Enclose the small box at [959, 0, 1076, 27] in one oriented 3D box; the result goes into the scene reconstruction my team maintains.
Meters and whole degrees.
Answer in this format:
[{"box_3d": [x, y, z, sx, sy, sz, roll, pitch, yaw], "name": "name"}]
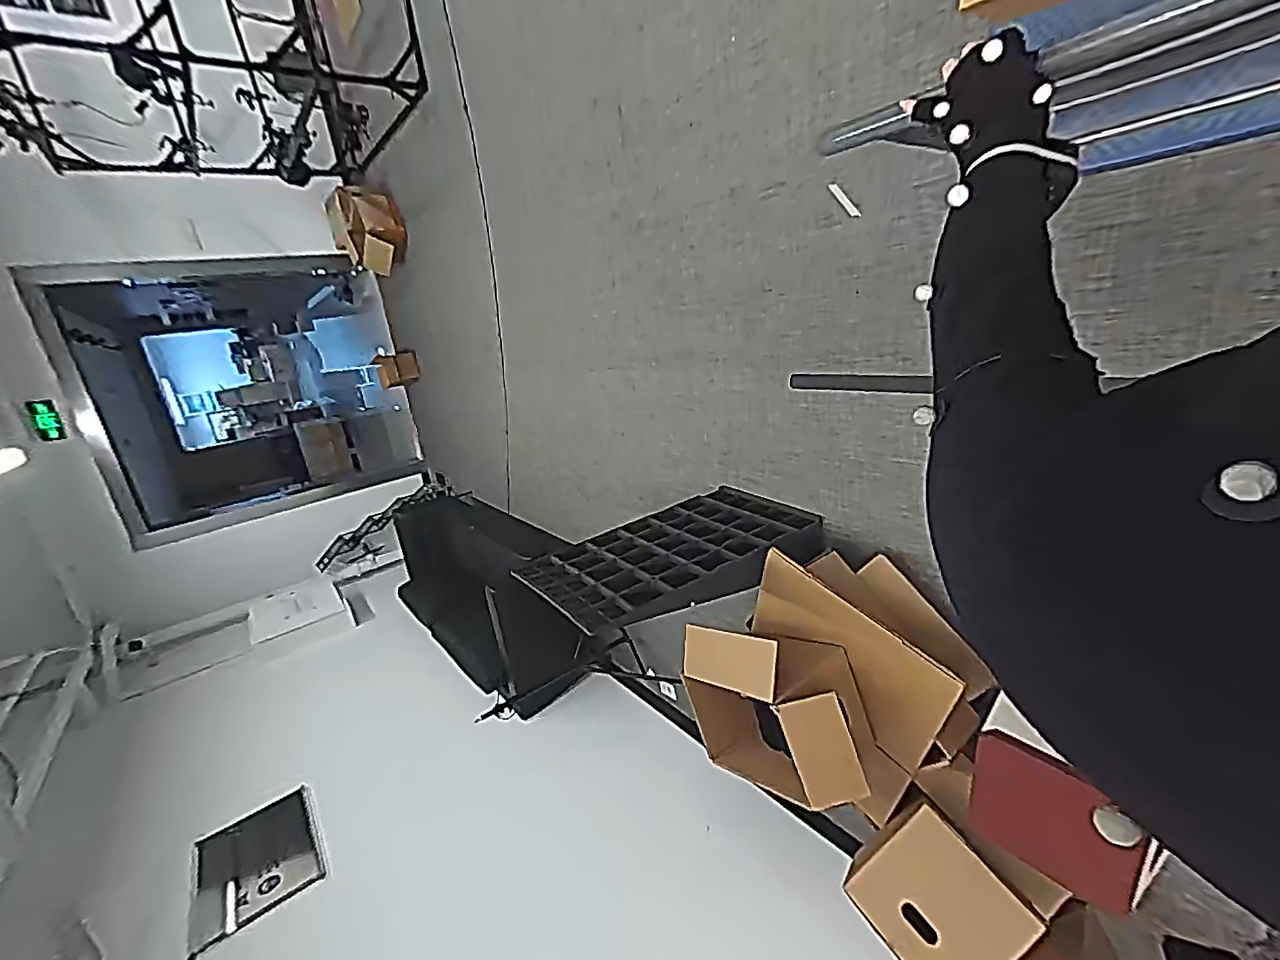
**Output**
[{"box_3d": [0.661, -0.889, 0.889, 0.179, 0.176, 0.168, 17, 120, 49], "name": "small box"}]
